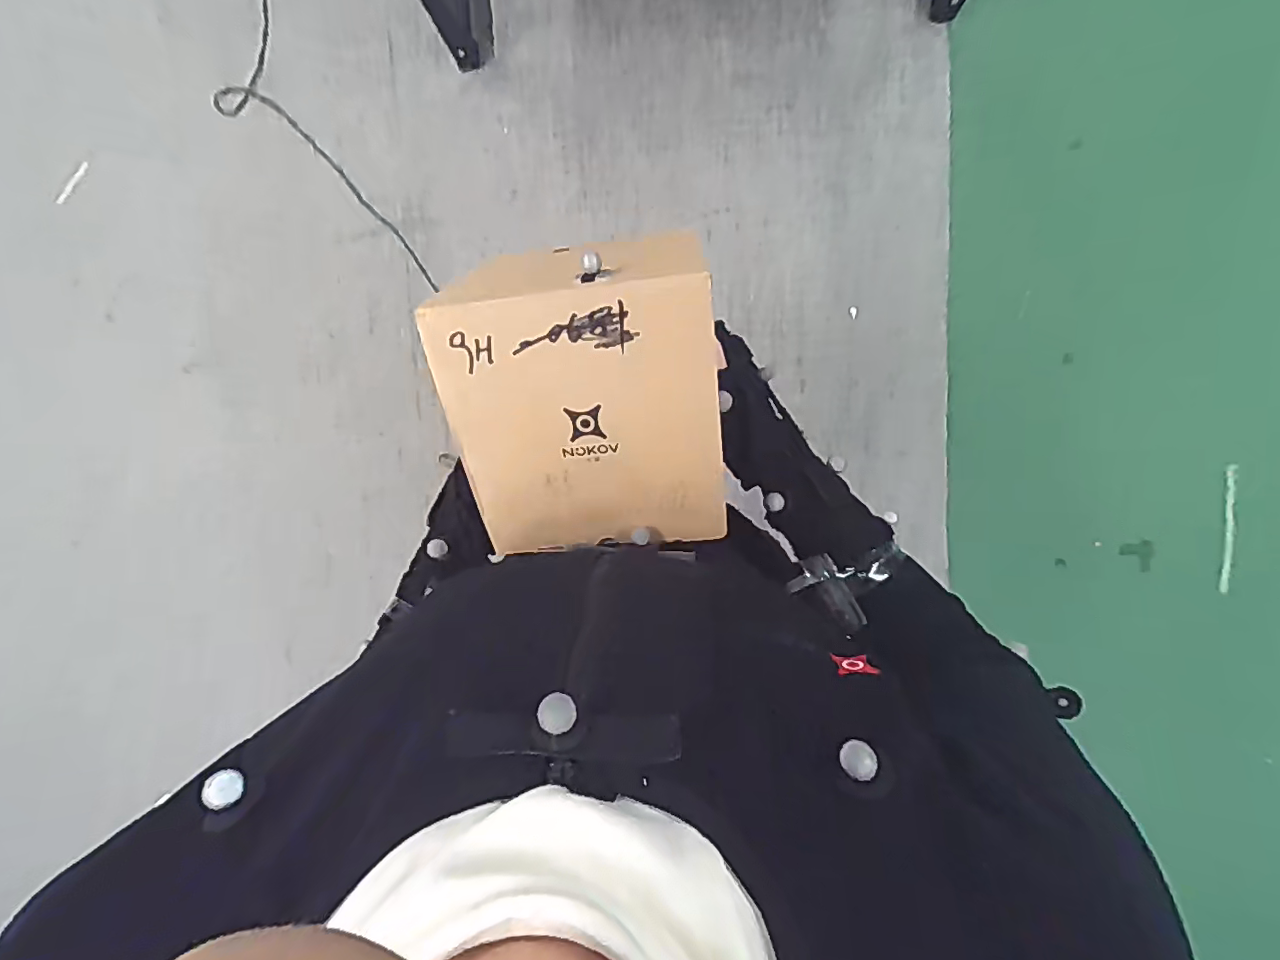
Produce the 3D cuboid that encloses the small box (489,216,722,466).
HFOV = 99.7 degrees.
[{"bbox_3d":[-0.020,-0.145,0.548,0.168,0.176,0.179,-16,119,13],"label":"small box"}]

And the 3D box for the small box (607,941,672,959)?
[{"bbox_3d":[-0.002,1.344,1.401,0.179,0.176,0.168,-4,96,3],"label":"small box"}]
